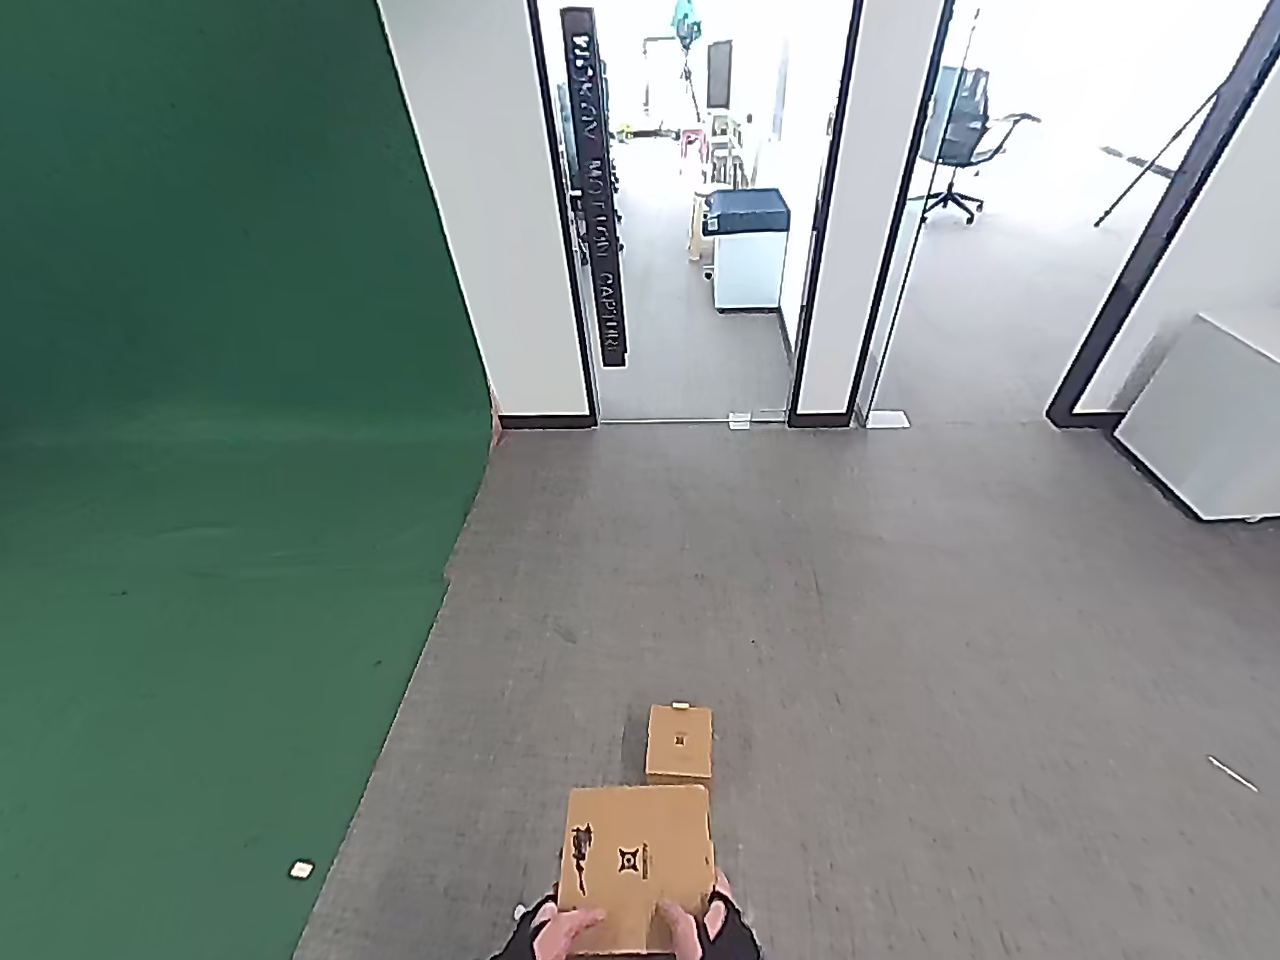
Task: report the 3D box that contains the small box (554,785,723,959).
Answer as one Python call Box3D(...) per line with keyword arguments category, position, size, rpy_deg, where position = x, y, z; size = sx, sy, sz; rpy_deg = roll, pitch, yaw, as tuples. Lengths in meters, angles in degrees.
Box3D(category="small box", position=(0.005, 0.499, 0.664), size=(0.179, 0.176, 0.168), rpy_deg=(-2, 35, 4))

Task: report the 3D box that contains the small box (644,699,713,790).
Box3D(category="small box", position=(0.106, 0.708, 1.431), size=(0.168, 0.176, 0.179), rpy_deg=(1, 43, 9))
